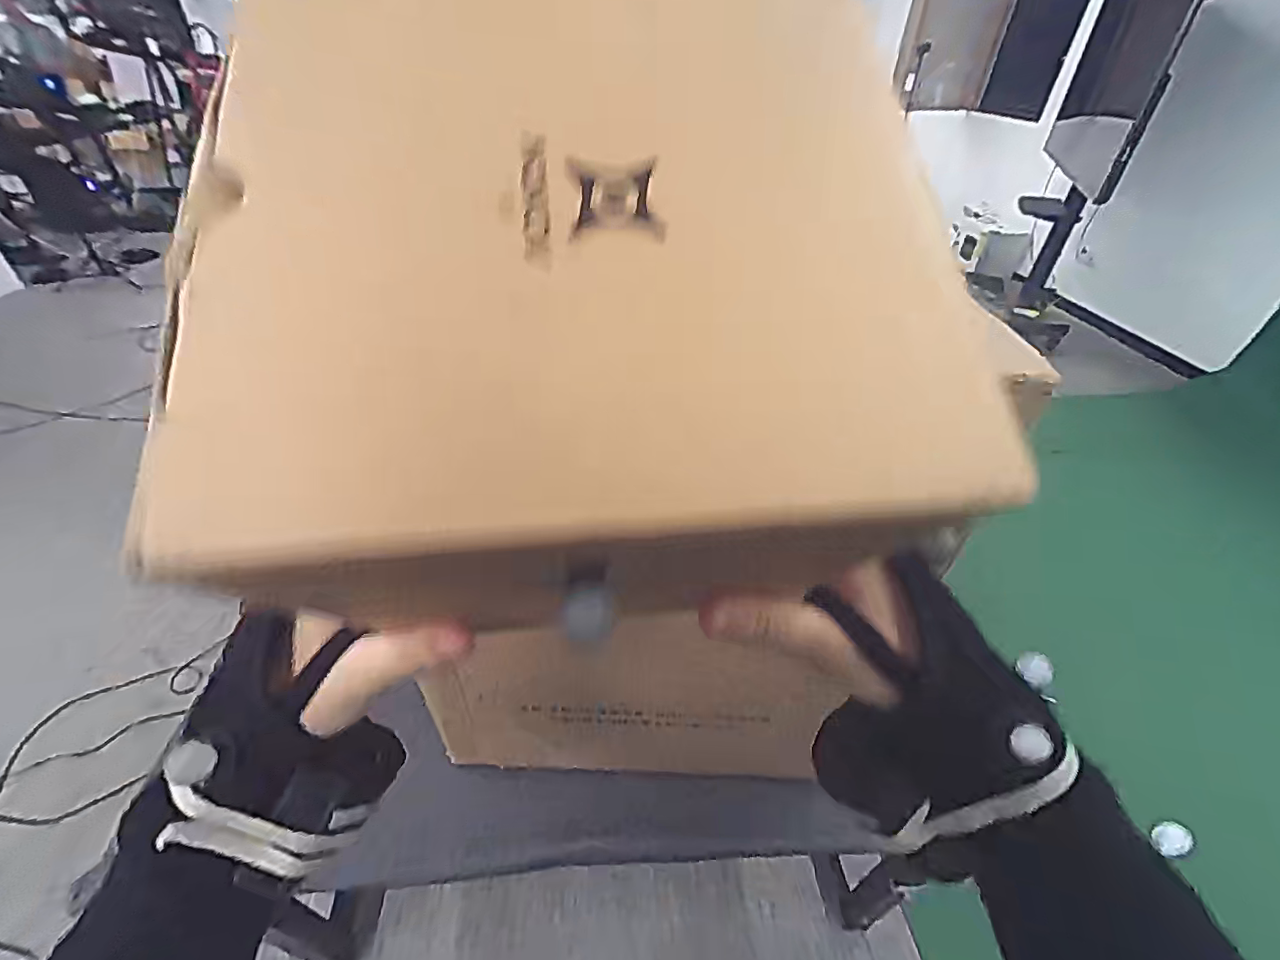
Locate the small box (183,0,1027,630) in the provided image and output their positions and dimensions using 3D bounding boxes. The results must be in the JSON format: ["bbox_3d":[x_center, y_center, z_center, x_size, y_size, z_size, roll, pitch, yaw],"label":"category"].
[{"bbox_3d":[-0.014,-0.038,0.210,0.179,0.176,0.168,-4,70,-7],"label":"small box"}]
